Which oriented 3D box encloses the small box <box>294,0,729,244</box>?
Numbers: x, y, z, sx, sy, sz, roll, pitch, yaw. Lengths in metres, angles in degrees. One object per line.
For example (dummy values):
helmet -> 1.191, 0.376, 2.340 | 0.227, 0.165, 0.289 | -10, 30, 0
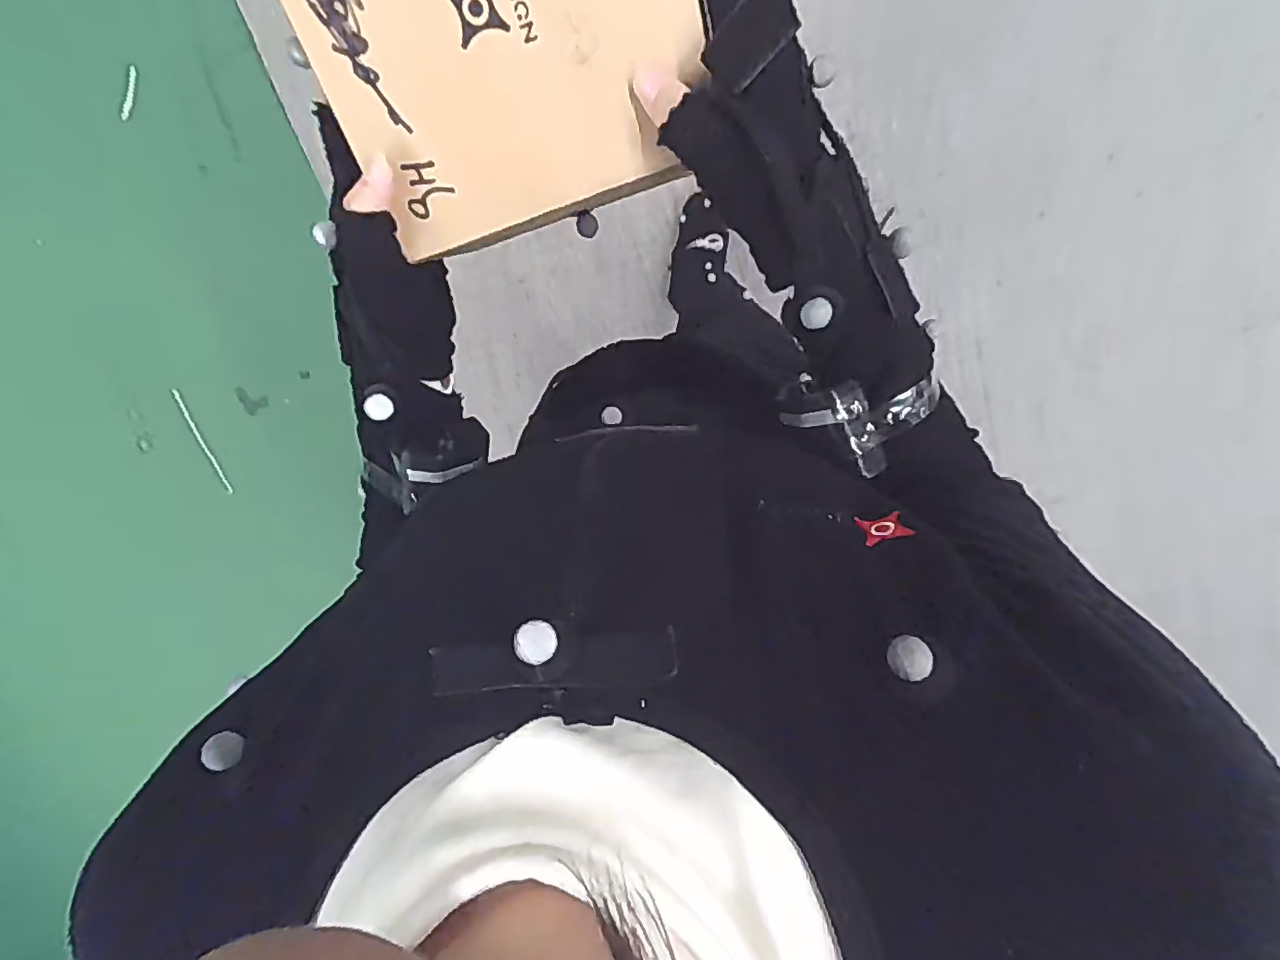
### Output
small box -> -0.065, -0.249, 0.307 | 0.179, 0.176, 0.168 | -17, 115, 6
